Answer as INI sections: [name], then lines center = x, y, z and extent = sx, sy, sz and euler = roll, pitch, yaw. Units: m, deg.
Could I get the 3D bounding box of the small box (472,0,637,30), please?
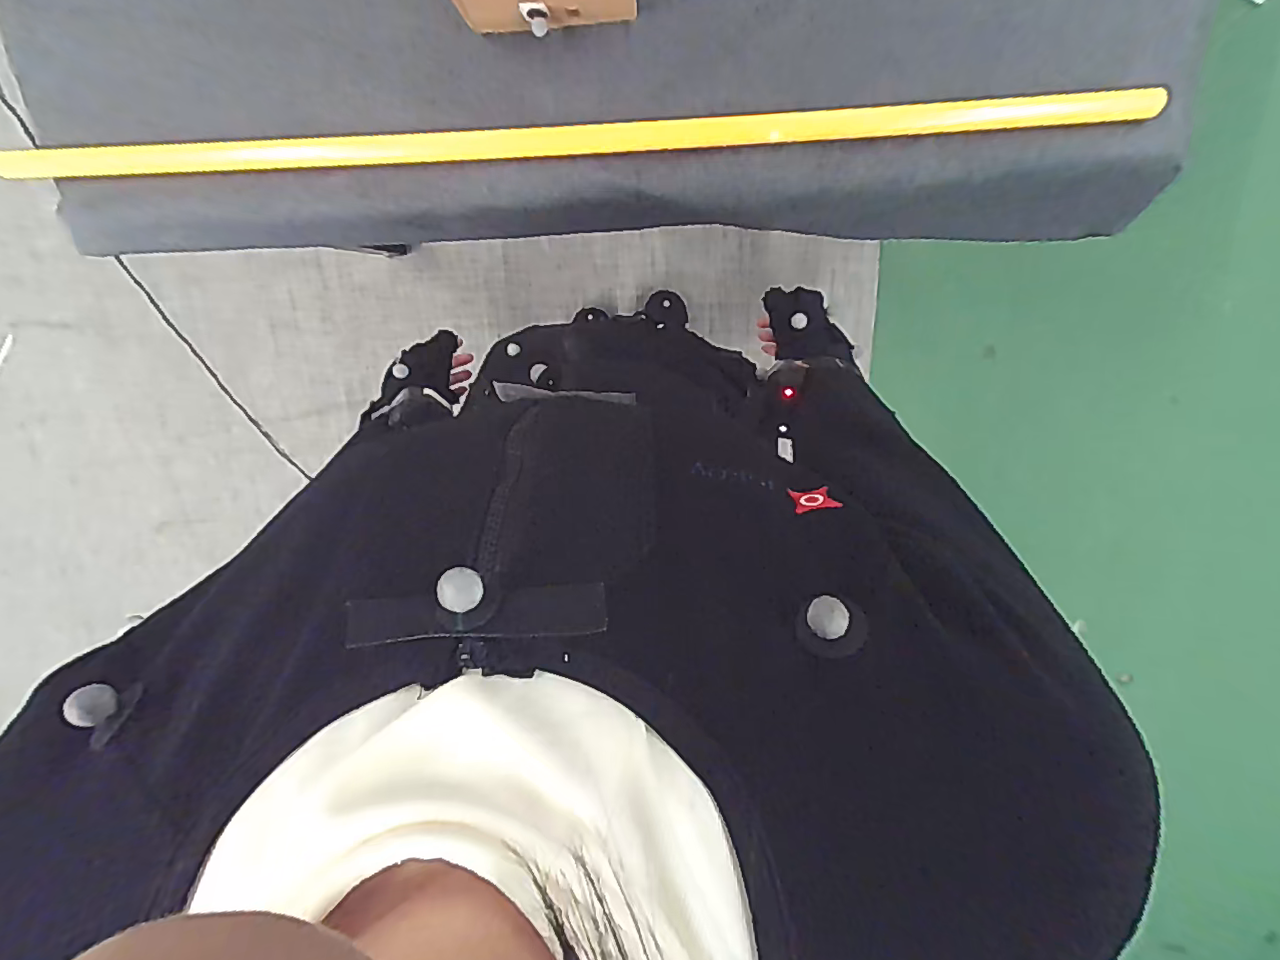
[small box]
center = -0.092, -0.519, 0.444
extent = 0.168, 0.176, 0.179
euler = -4, 109, 5
